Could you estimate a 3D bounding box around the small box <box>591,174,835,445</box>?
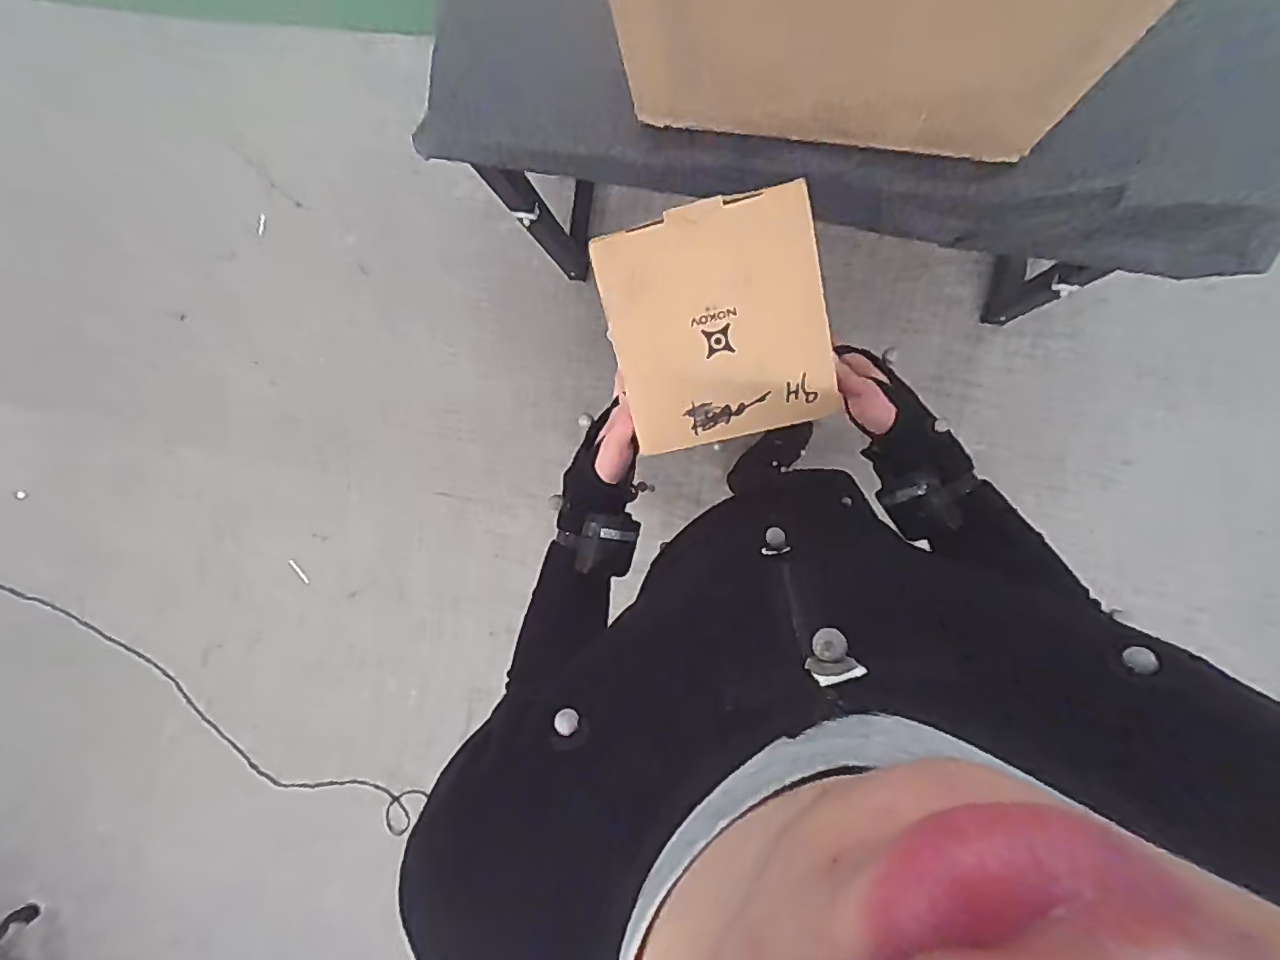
[{"bbox_3d":[0.066,-0.146,0.495,0.168,0.176,0.179,-11,105,10],"label":"small box"}]
